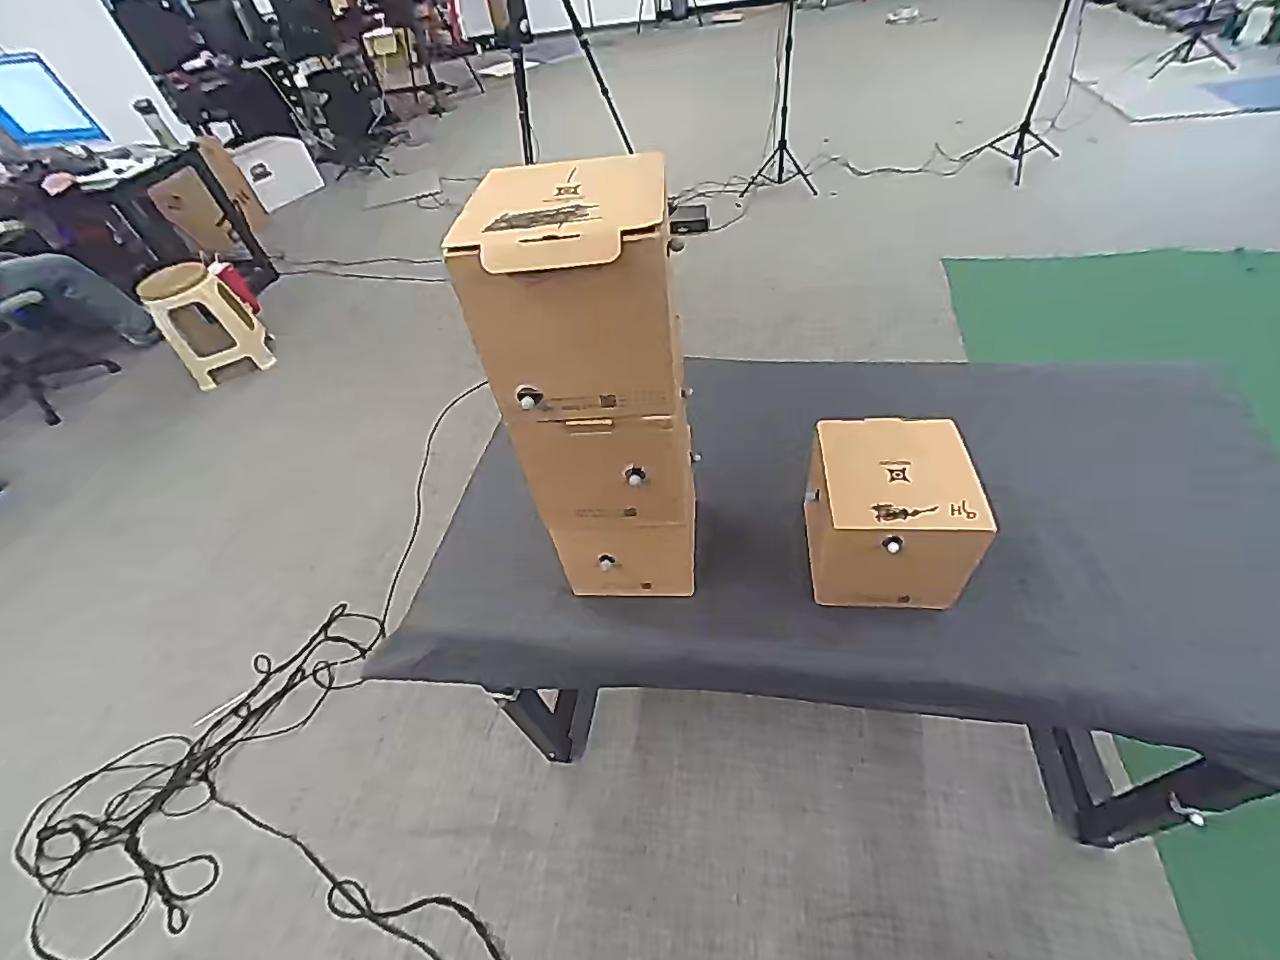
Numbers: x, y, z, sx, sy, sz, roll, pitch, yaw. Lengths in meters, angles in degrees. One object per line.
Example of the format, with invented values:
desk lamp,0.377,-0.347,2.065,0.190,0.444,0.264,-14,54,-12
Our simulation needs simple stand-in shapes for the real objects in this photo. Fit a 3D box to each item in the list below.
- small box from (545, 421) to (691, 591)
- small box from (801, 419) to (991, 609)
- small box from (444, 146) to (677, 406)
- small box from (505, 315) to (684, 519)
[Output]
small box,-0.017,0.038,0.739,0.168,0.176,0.179,-1,48,8
small box,0.303,0.042,0.689,0.168,0.176,0.179,1,48,9
small box,-0.052,-0.180,0.498,0.168,0.176,0.179,-2,47,5
small box,-0.036,-0.069,0.618,0.168,0.176,0.179,-1,47,6
